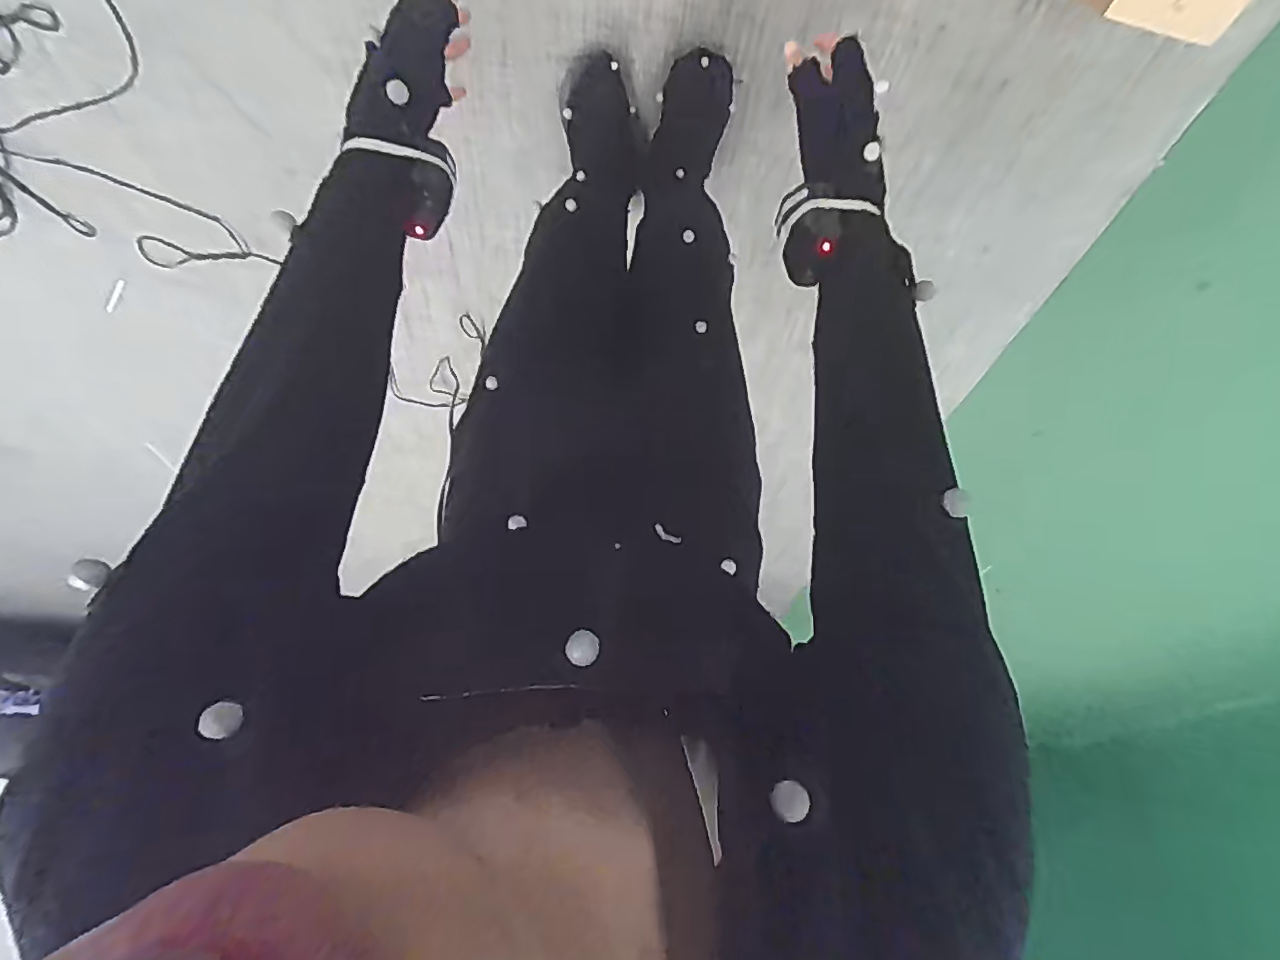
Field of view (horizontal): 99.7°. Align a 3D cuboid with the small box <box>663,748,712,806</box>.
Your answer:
[{"bbox_3d":[0.179,1.123,2.043,0.168,0.176,0.179,4,145,-1],"label":"small box"}]
